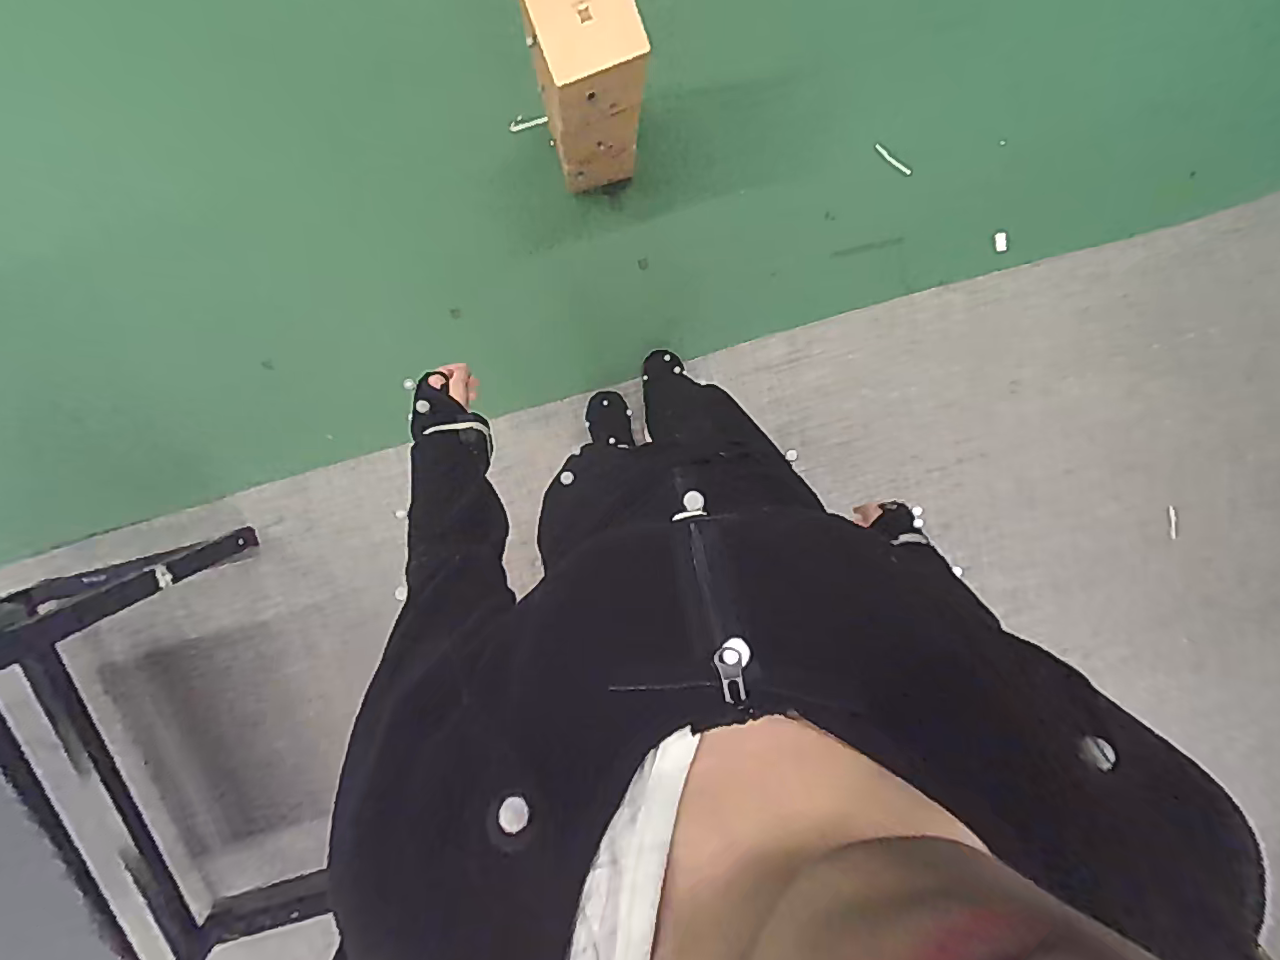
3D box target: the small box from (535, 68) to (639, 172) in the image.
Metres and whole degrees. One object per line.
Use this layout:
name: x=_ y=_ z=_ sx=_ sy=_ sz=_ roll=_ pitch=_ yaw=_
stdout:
small box: x=-0.109 y=-0.771 z=1.101 sx=0.168 sy=0.176 sz=0.179 roll=-19 pitch=100 yaw=0

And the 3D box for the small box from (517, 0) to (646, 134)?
small box: x=-0.097 y=-0.740 z=0.942 sx=0.168 sy=0.176 sz=0.179 roll=-22 pitch=100 yaw=0
